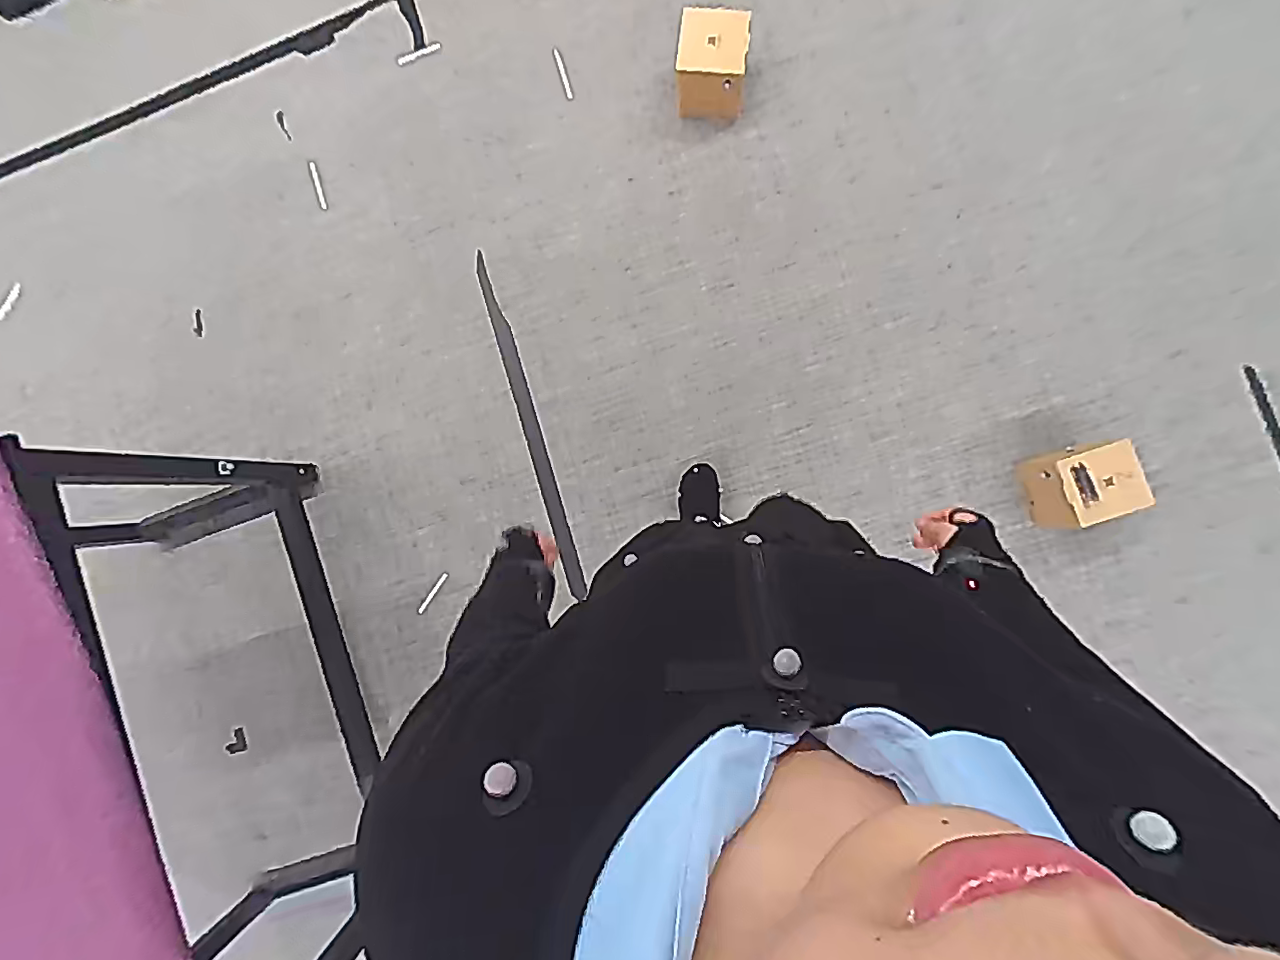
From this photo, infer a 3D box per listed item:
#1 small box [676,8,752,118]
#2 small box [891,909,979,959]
[{"bbox_3d":[0.193,-1.104,1.441,0.179,0.176,0.168,7,89,5],"label":"small box"},{"bbox_3d":[0.758,1.214,1.331,0.168,0.176,0.179,-34,86,3],"label":"small box"}]
